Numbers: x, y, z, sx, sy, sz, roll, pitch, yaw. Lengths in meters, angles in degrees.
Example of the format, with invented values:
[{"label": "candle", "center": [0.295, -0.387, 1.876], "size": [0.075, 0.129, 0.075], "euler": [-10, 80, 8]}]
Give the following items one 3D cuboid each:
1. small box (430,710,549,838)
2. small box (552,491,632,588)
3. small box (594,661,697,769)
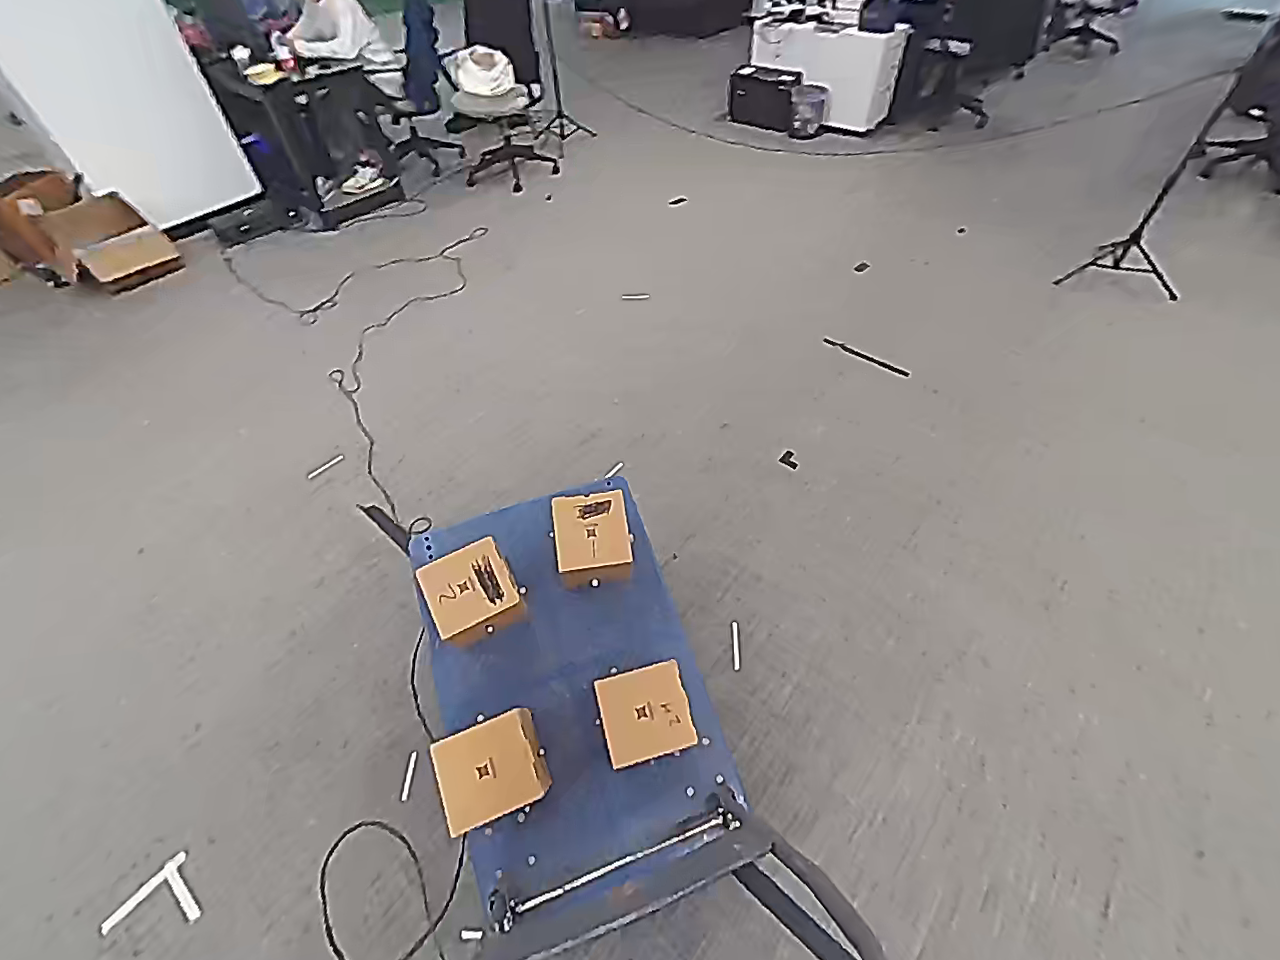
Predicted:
[{"label": "small box", "center": [-0.294, 0.580, 1.084], "size": [0.179, 0.176, 0.168], "euler": [-19, 69, -13]}, {"label": "small box", "center": [-0.116, 0.145, 1.284], "size": [0.168, 0.176, 0.179], "euler": [-7, 68, -7]}, {"label": "small box", "center": [0.006, 0.493, 1.142], "size": [0.179, 0.176, 0.168], "euler": [-13, 69, -9]}]
